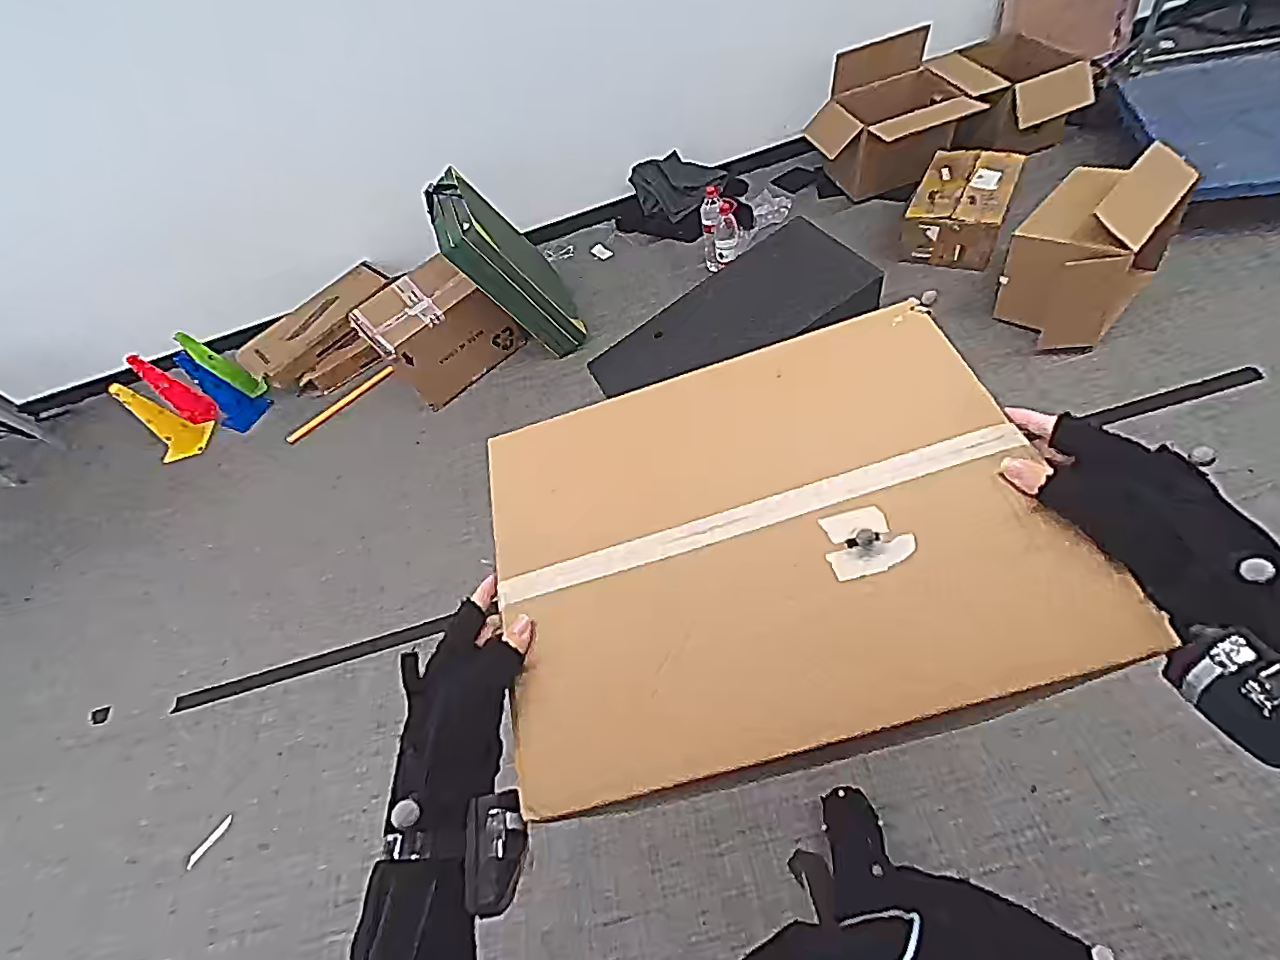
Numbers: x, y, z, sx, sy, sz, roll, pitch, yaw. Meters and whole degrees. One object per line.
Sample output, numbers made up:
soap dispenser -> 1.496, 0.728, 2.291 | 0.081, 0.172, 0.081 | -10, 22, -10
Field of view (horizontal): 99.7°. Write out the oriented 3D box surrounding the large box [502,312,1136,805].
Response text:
large box -> 0.120, 0.104, 0.550 | 0.408, 0.320, 0.320 | -18, 58, 4
